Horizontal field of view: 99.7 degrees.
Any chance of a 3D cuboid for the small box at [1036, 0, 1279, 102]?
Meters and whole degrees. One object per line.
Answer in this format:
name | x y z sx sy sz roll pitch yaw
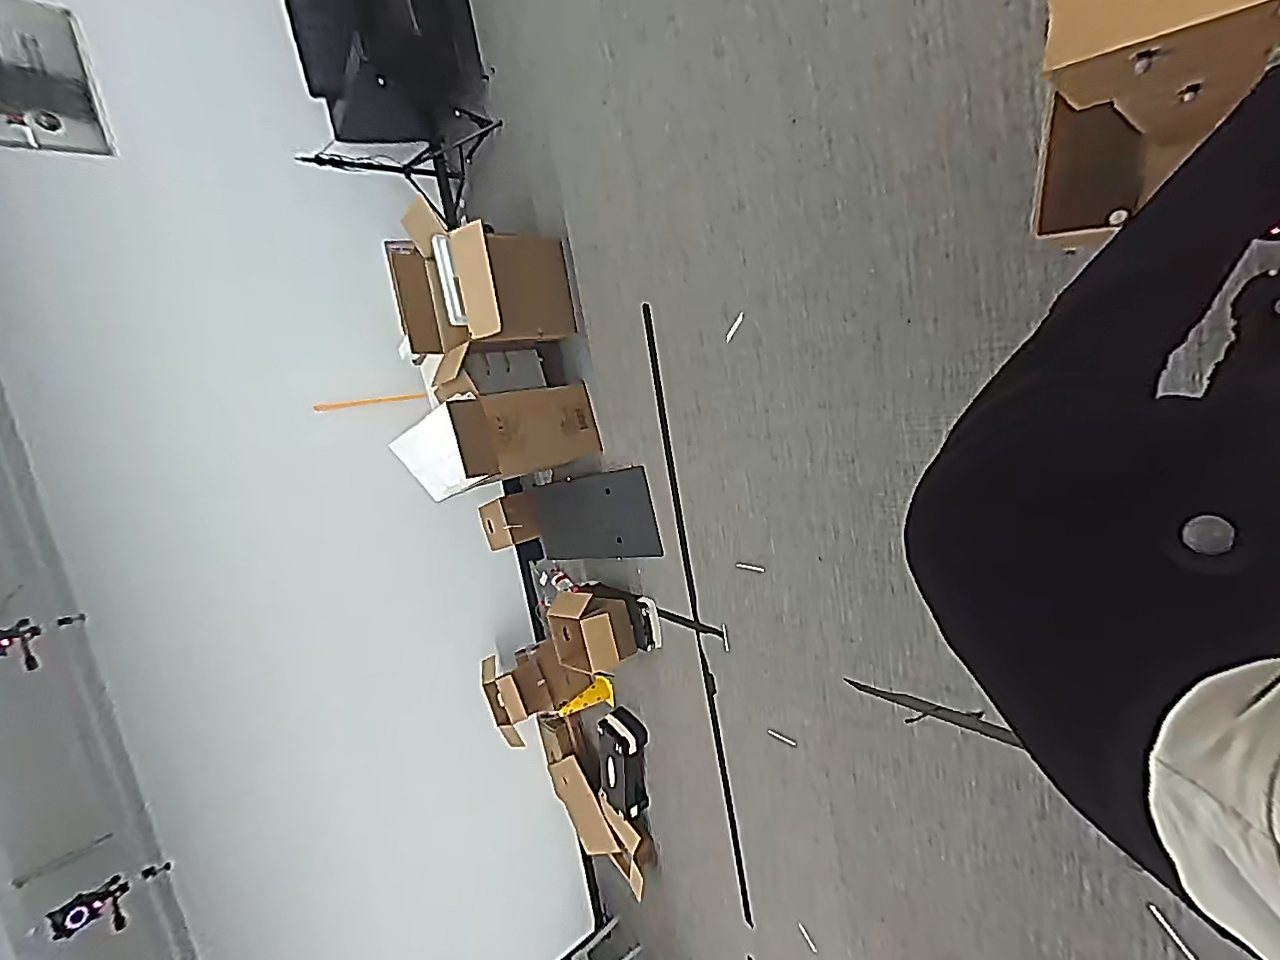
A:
small box | 0.533 -0.508 0.535 0.179 0.176 0.168 16 114 48
